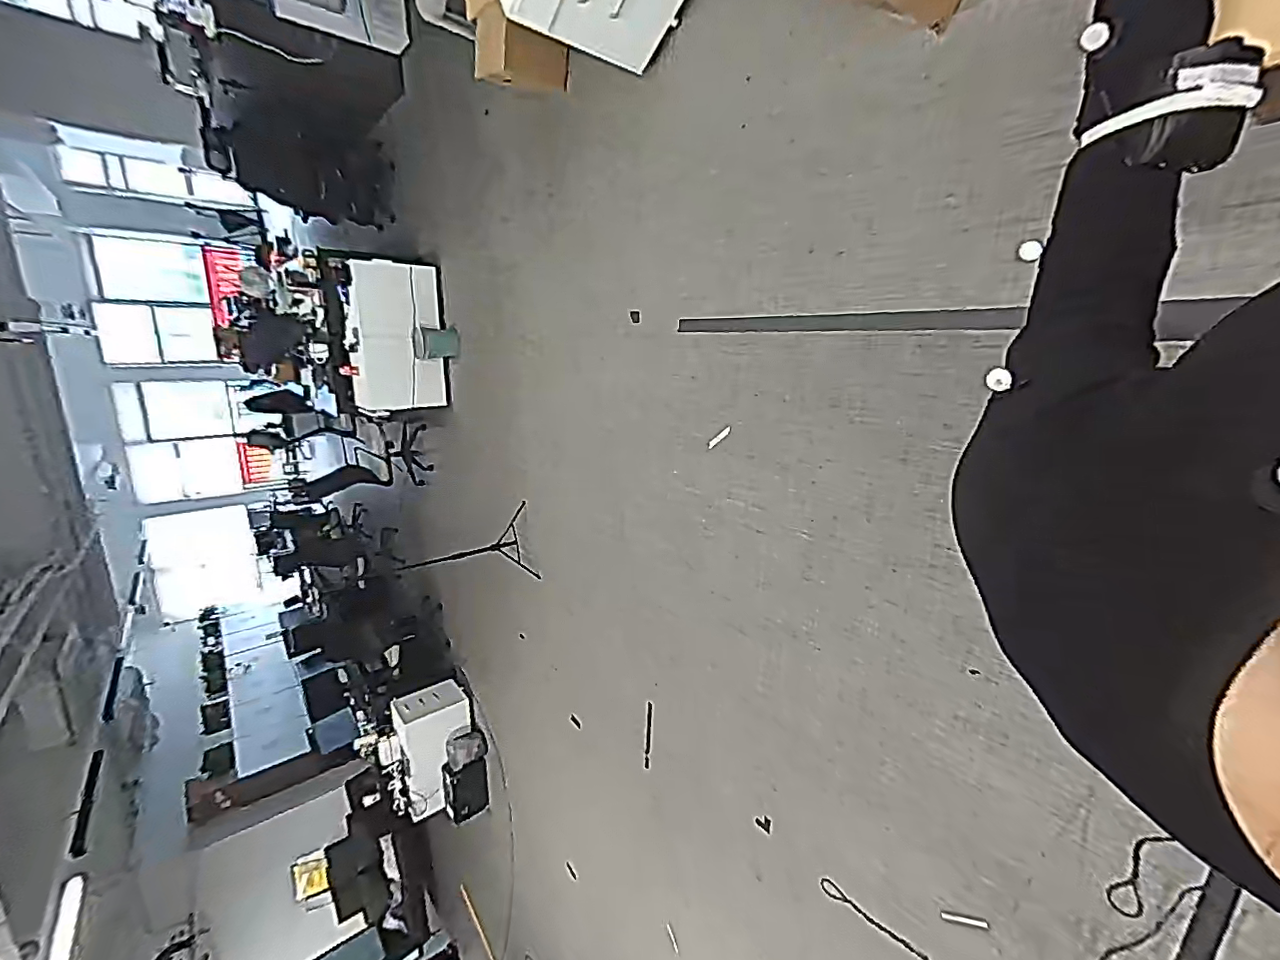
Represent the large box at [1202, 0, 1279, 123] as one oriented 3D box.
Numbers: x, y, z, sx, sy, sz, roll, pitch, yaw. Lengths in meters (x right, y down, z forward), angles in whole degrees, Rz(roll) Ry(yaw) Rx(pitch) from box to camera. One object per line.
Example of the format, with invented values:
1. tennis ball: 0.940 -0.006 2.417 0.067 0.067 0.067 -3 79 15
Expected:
1. large box: 0.606 -0.434 0.269 0.408 0.320 0.320 14 118 50
